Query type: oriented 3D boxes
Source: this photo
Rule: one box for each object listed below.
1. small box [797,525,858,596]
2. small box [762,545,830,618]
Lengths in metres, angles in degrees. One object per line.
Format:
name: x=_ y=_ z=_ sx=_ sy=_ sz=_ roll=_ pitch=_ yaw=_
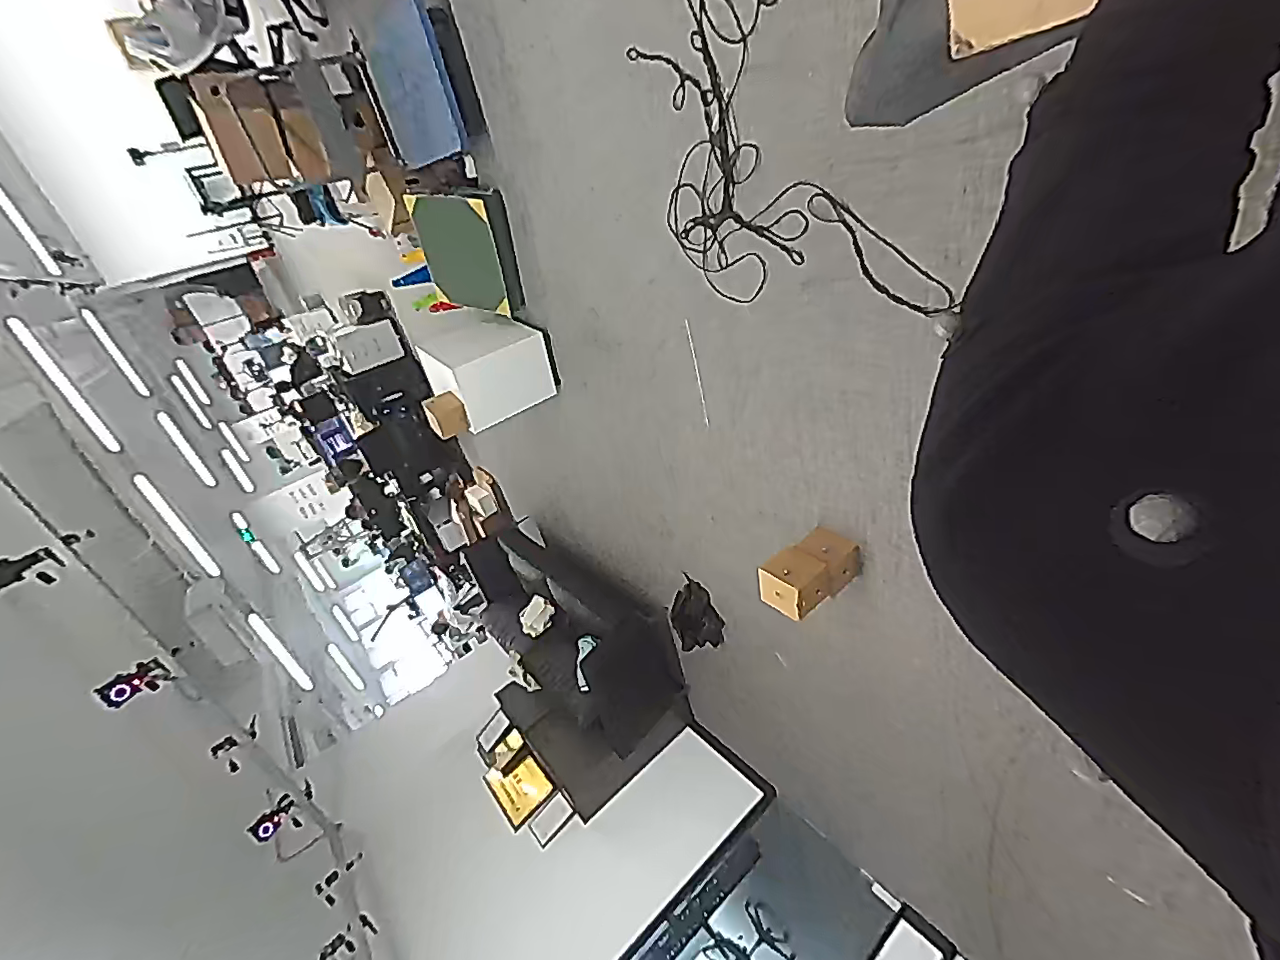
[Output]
small box: x=0.703 y=0.297 z=2.040 sx=0.179 sy=0.176 sz=0.168 roll=26 pitch=139 yaw=45
small box: x=0.568 y=0.360 z=1.970 sx=0.179 sy=0.176 sz=0.168 roll=27 pitch=139 yaw=45
